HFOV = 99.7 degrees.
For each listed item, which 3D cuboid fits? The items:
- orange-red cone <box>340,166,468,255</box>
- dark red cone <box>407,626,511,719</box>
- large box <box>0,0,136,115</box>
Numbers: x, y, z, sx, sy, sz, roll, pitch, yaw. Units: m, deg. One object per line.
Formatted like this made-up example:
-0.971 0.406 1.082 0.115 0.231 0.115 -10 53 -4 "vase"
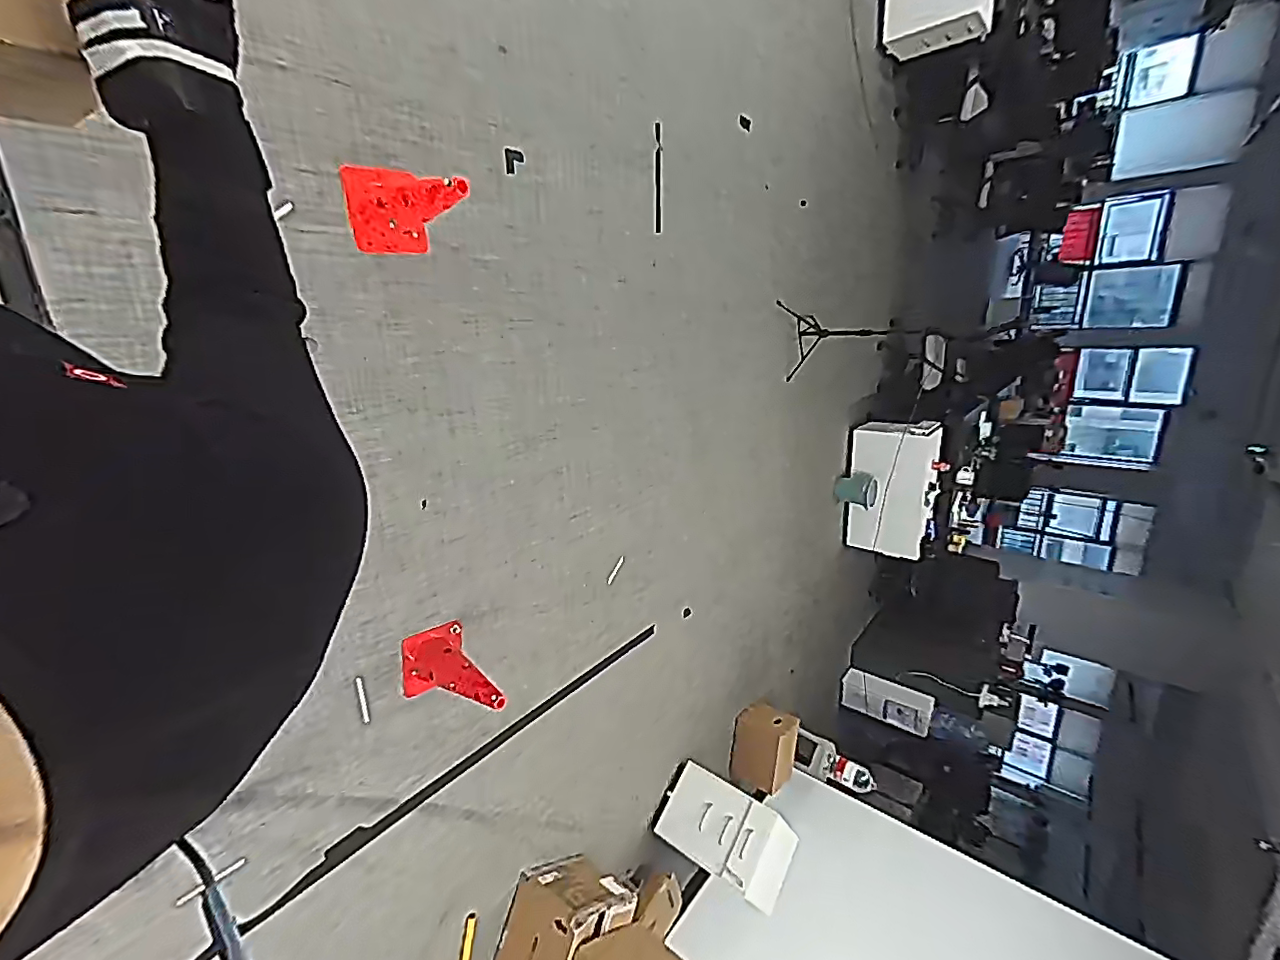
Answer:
-0.530 -0.671 1.294 0.198 0.360 0.199 -24 116 -47 "orange-red cone"
-0.509 0.595 1.588 0.201 0.394 0.202 -12 107 -48 "dark red cone"
-0.583 -0.420 0.262 0.408 0.320 0.320 -21 122 -48 "large box"
